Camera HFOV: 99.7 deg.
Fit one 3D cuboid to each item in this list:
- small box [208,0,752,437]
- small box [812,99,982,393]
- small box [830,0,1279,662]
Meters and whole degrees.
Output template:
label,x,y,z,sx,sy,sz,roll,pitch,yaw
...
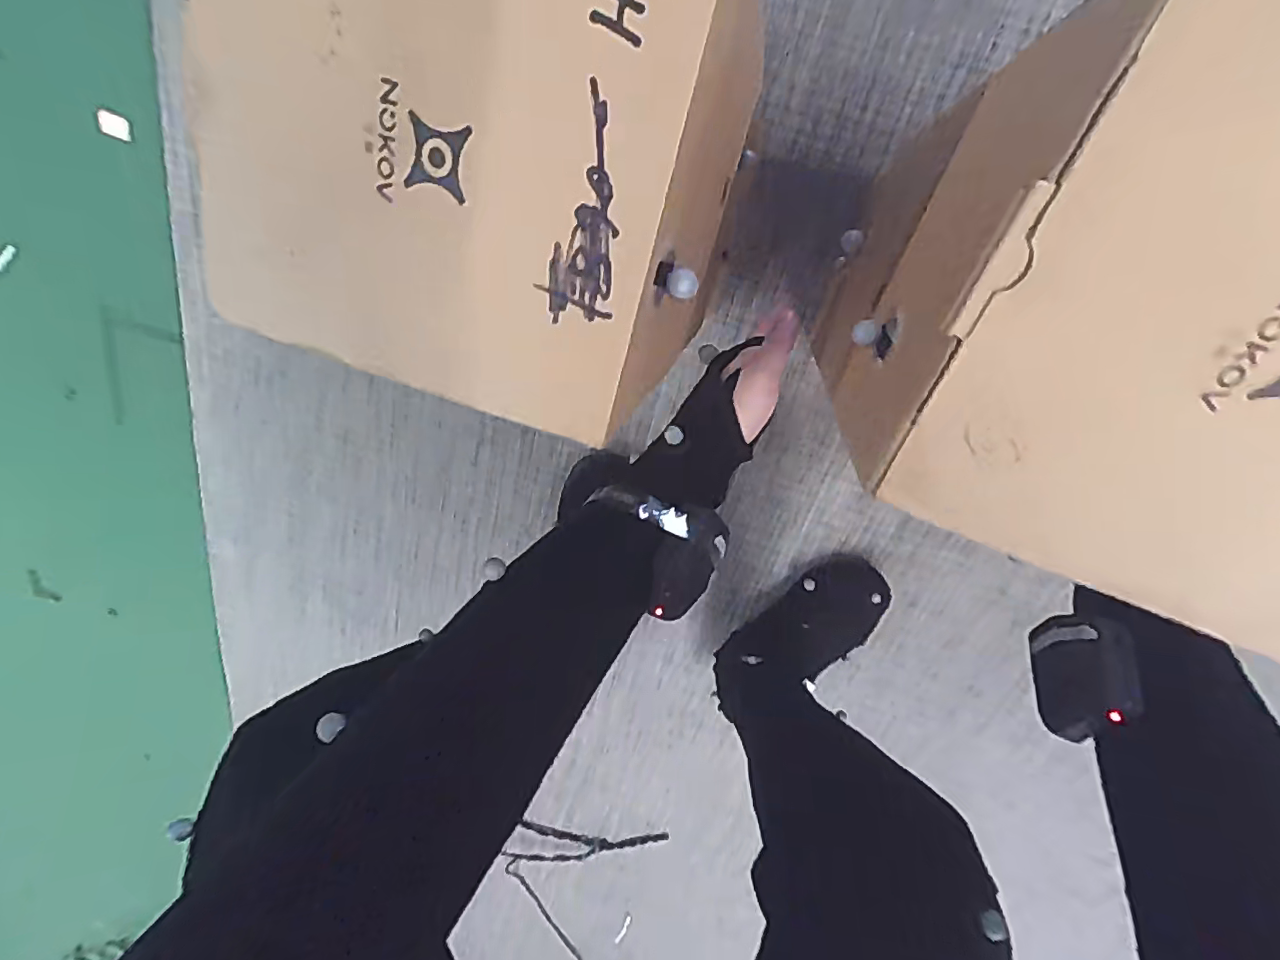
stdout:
label,x,y,z,sx,sy,sz,roll,pitch,yaw
small box,-0.057,-0.144,0.261,0.179,0.176,0.168,20,116,6
small box,0.237,-0.127,0.375,0.179,0.176,0.168,22,116,6
small box,0.198,-0.064,0.229,0.179,0.176,0.168,22,116,4
